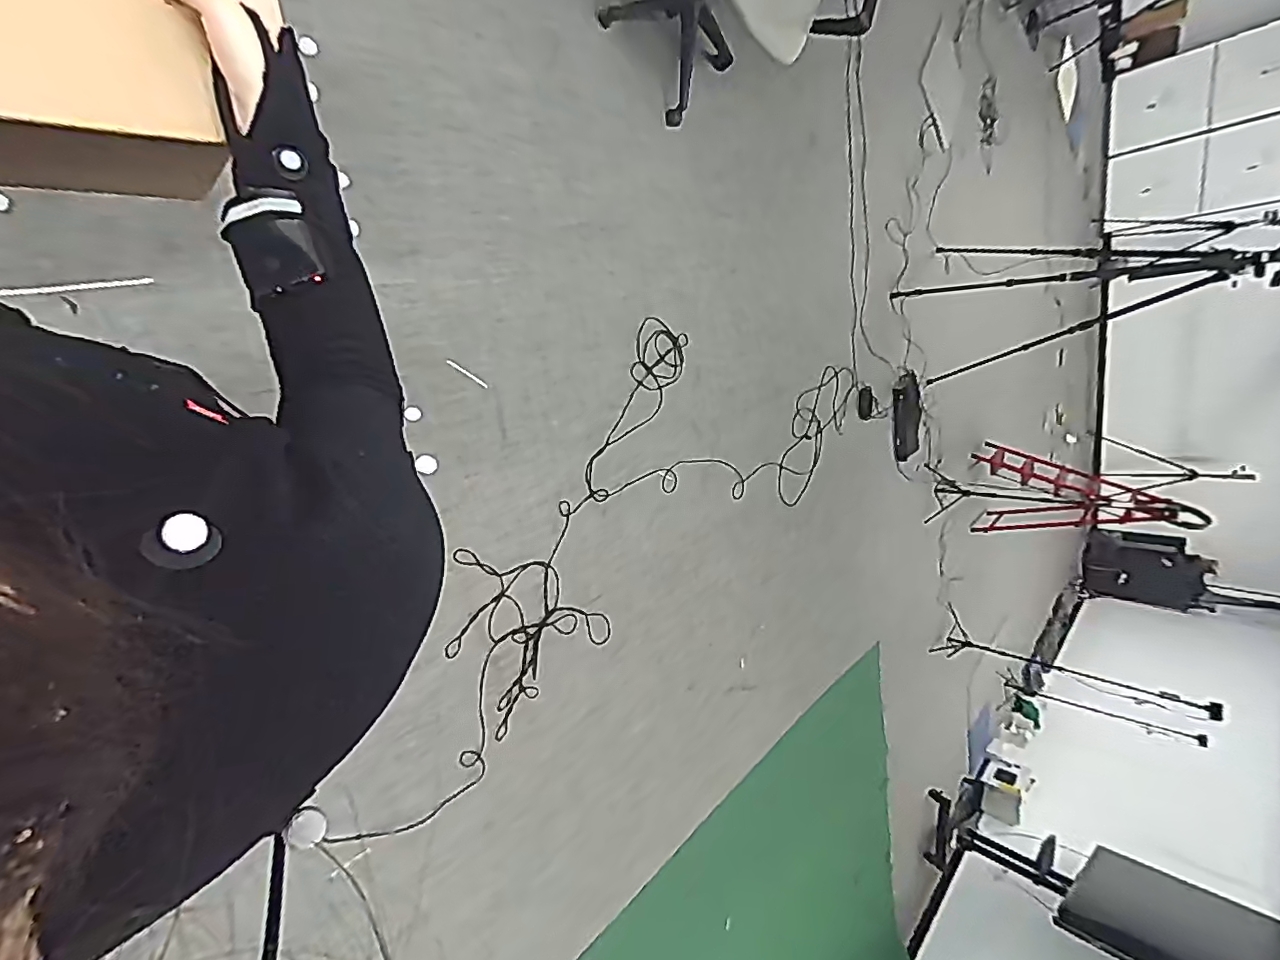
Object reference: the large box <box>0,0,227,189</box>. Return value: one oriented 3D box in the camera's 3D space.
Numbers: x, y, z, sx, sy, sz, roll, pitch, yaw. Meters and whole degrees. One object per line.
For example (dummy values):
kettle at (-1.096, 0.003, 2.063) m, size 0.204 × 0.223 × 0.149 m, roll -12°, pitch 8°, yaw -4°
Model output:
large box at (-0.563, -0.389, 0.350) m, size 0.408 × 0.320 × 0.320 m, roll -17°, pitch 115°, yaw -37°
